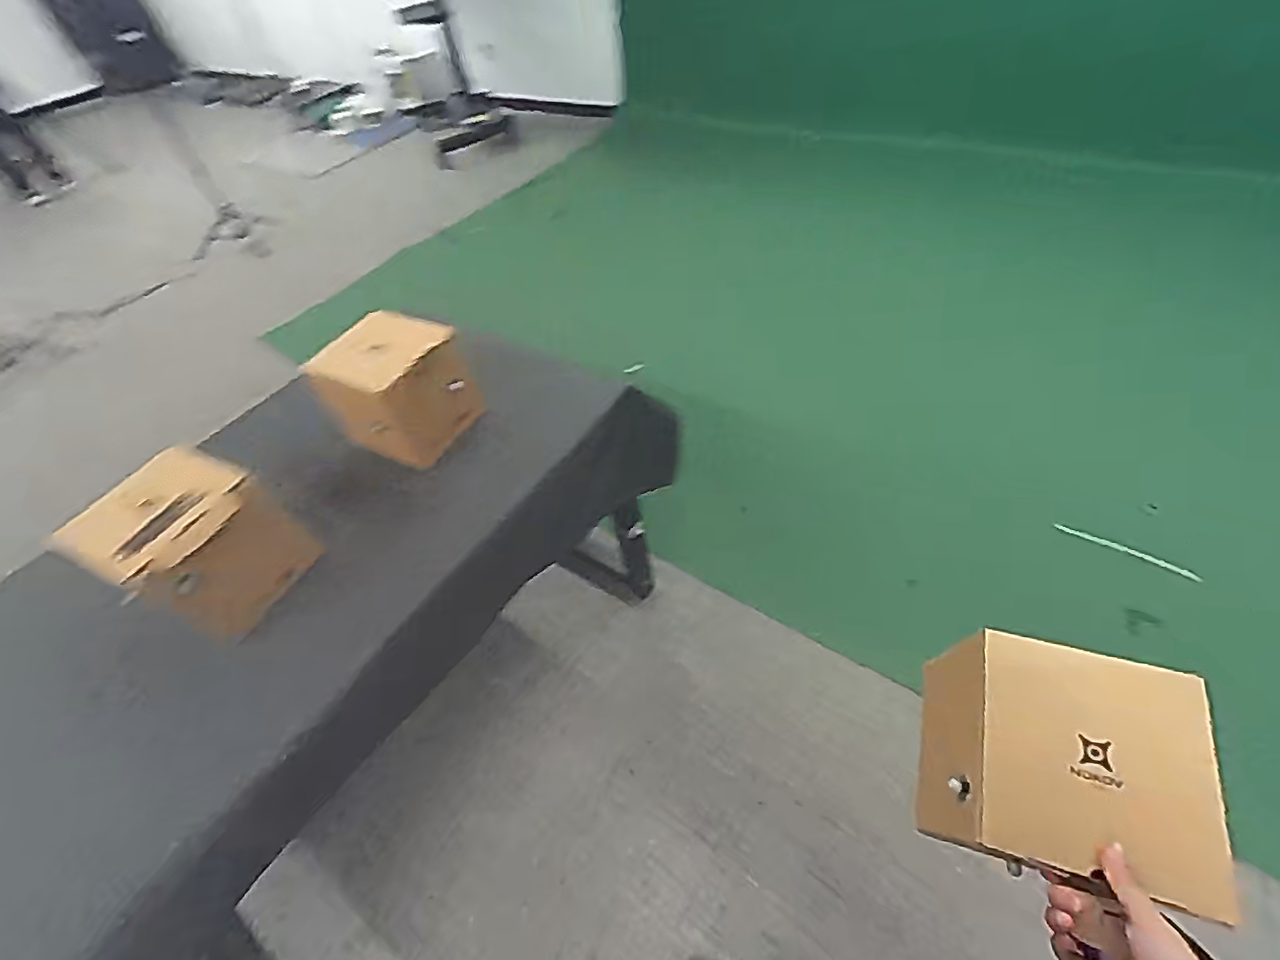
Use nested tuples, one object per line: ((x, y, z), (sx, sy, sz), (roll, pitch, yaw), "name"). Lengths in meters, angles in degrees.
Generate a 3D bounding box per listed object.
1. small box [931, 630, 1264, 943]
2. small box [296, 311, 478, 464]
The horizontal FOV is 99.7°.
((0.382, 0.260, 0.490), (0.168, 0.176, 0.179), (12, 65, 16), "small box")
((-0.399, -0.149, 0.887), (0.179, 0.176, 0.168), (17, 53, 22), "small box")
